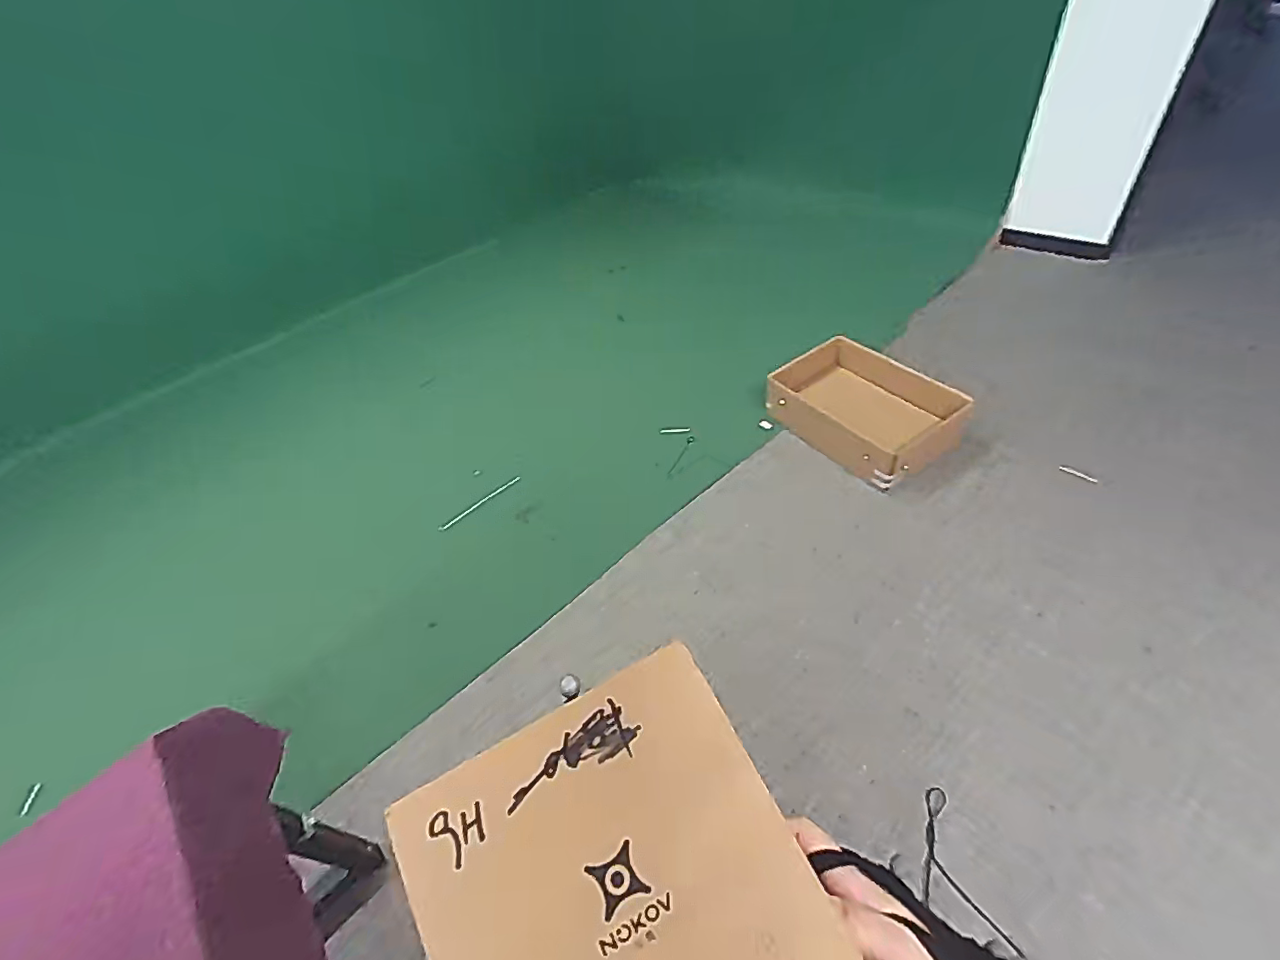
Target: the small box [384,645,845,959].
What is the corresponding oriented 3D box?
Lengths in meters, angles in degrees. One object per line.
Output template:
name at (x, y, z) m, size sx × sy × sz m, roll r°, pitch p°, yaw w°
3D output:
small box at (-0.016, 0.223, 0.320) m, size 0.168 × 0.176 × 0.179 m, roll -25°, pitch 69°, yaw -14°
